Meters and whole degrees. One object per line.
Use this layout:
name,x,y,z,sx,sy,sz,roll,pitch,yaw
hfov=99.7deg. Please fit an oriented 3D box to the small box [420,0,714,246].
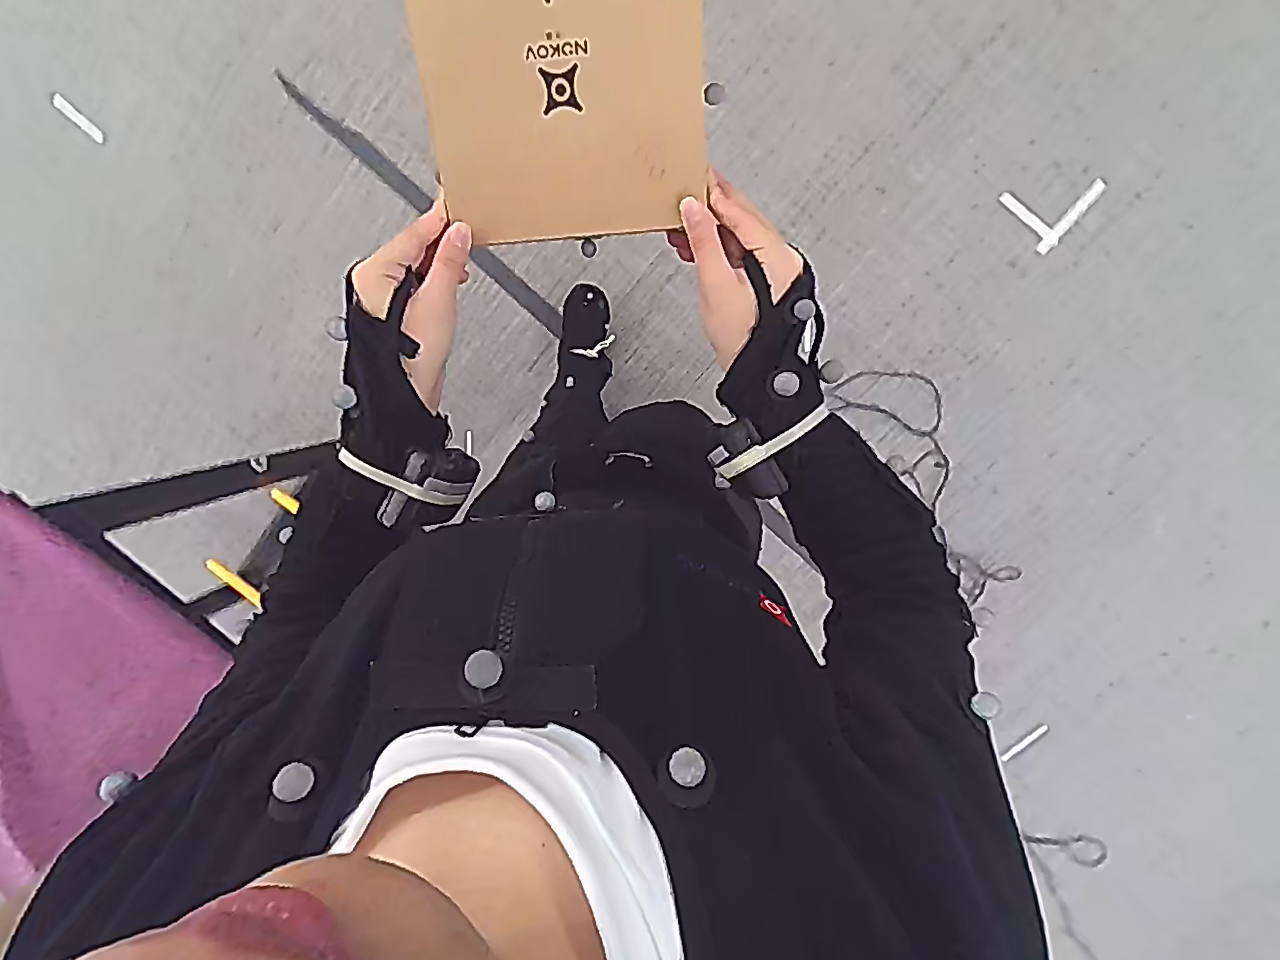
small box,-0.035,-0.269,0.382,0.168,0.176,0.179,-3,114,3
